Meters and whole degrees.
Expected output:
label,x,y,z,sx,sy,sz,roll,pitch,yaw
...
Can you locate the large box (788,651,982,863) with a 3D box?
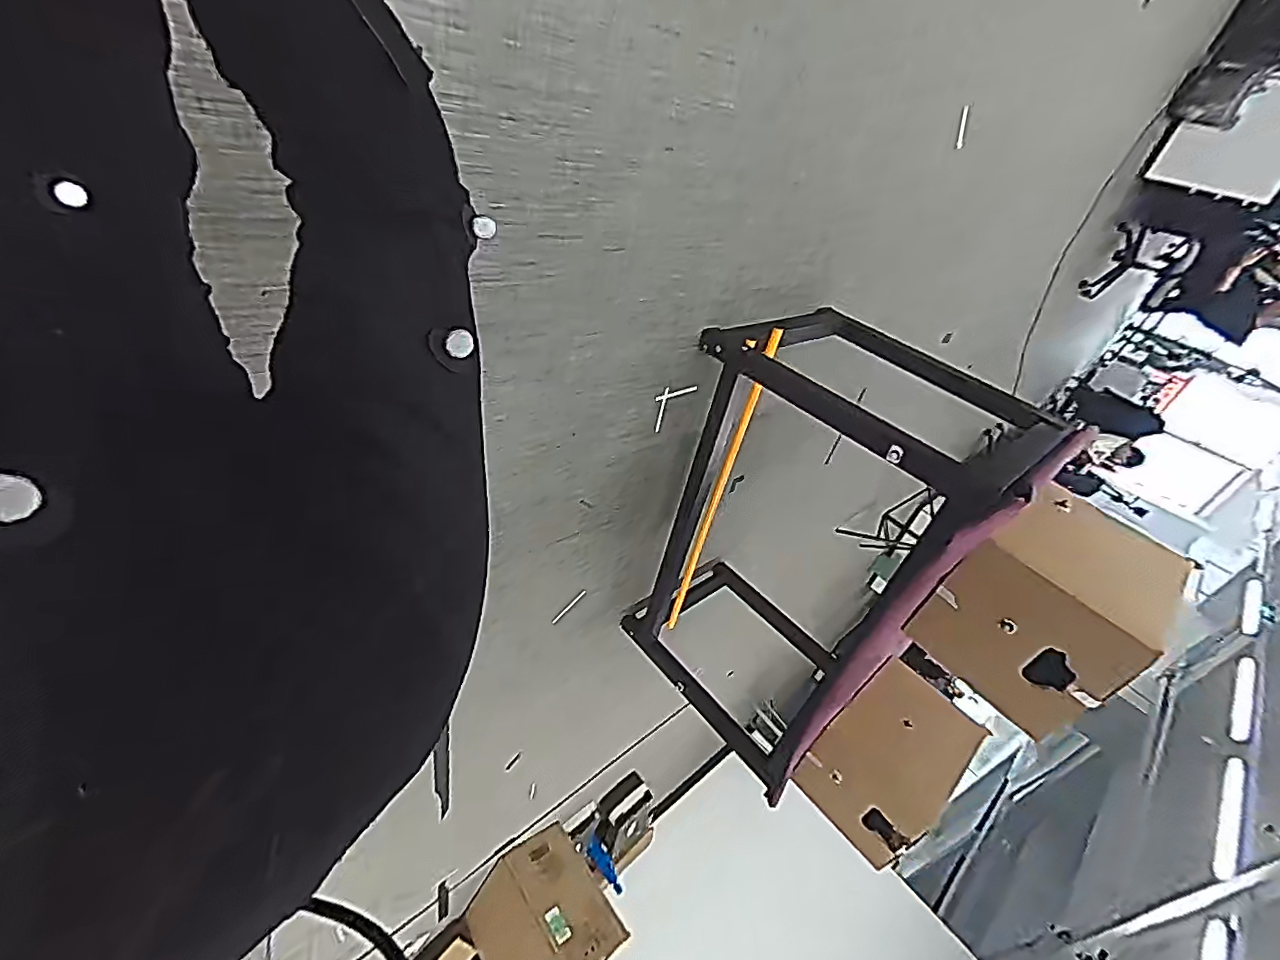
label,x,y,z,sx,sy,sz,roll,pitch,yaw
large box,0.702,0.785,1.576,0.408,0.320,0.320,-22,140,-39
